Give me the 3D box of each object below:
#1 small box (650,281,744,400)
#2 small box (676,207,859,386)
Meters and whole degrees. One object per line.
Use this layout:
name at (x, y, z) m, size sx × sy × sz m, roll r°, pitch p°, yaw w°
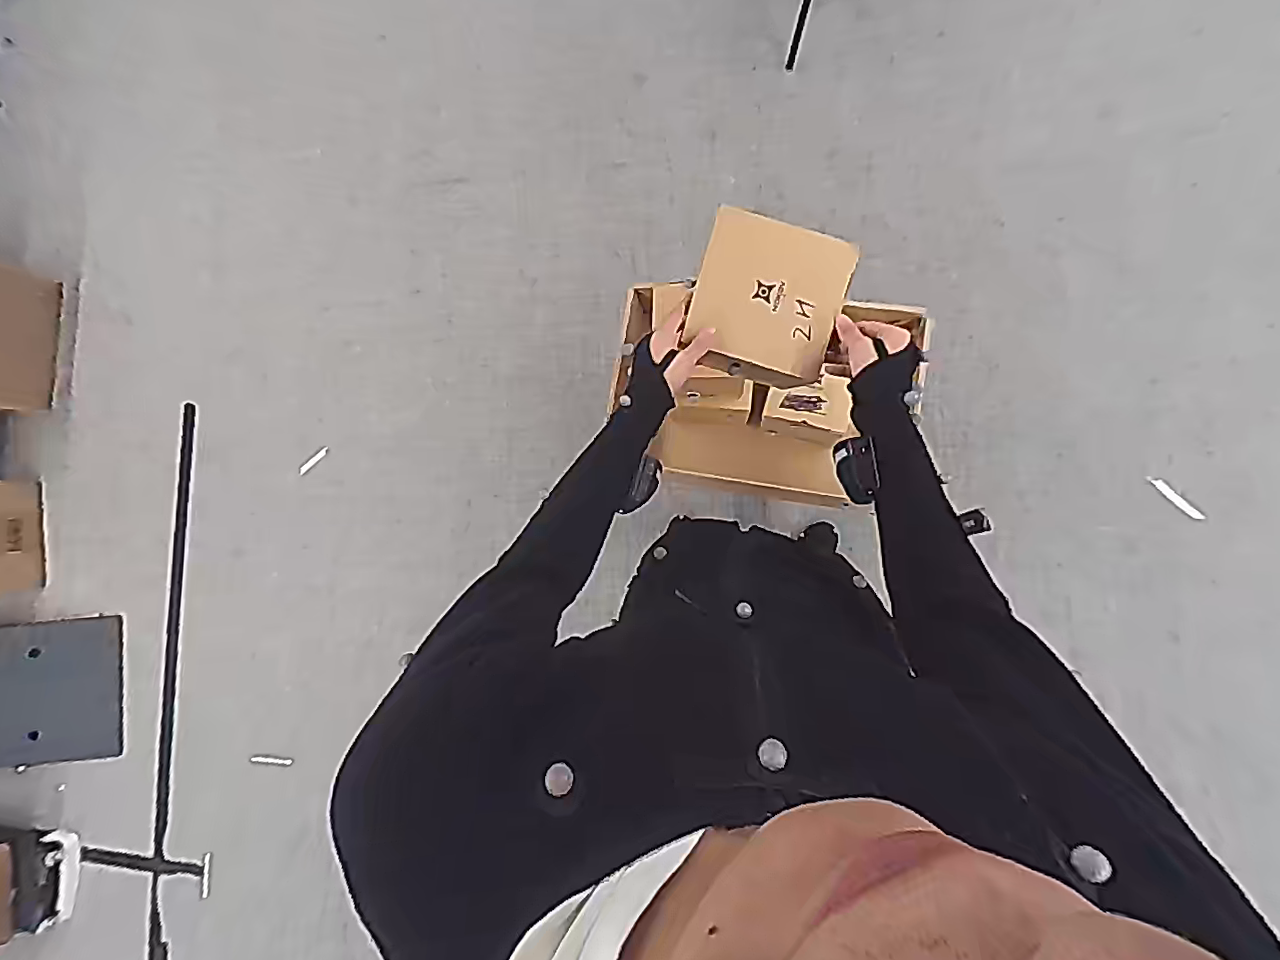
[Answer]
small box at (0.111, -0.255, 1.016) m, size 0.168 × 0.176 × 0.179 m, roll 0°, pitch 85°, yaw 9°
small box at (0.151, -0.226, 0.717) m, size 0.179 × 0.176 × 0.168 m, roll 17°, pitch 97°, yaw -1°
